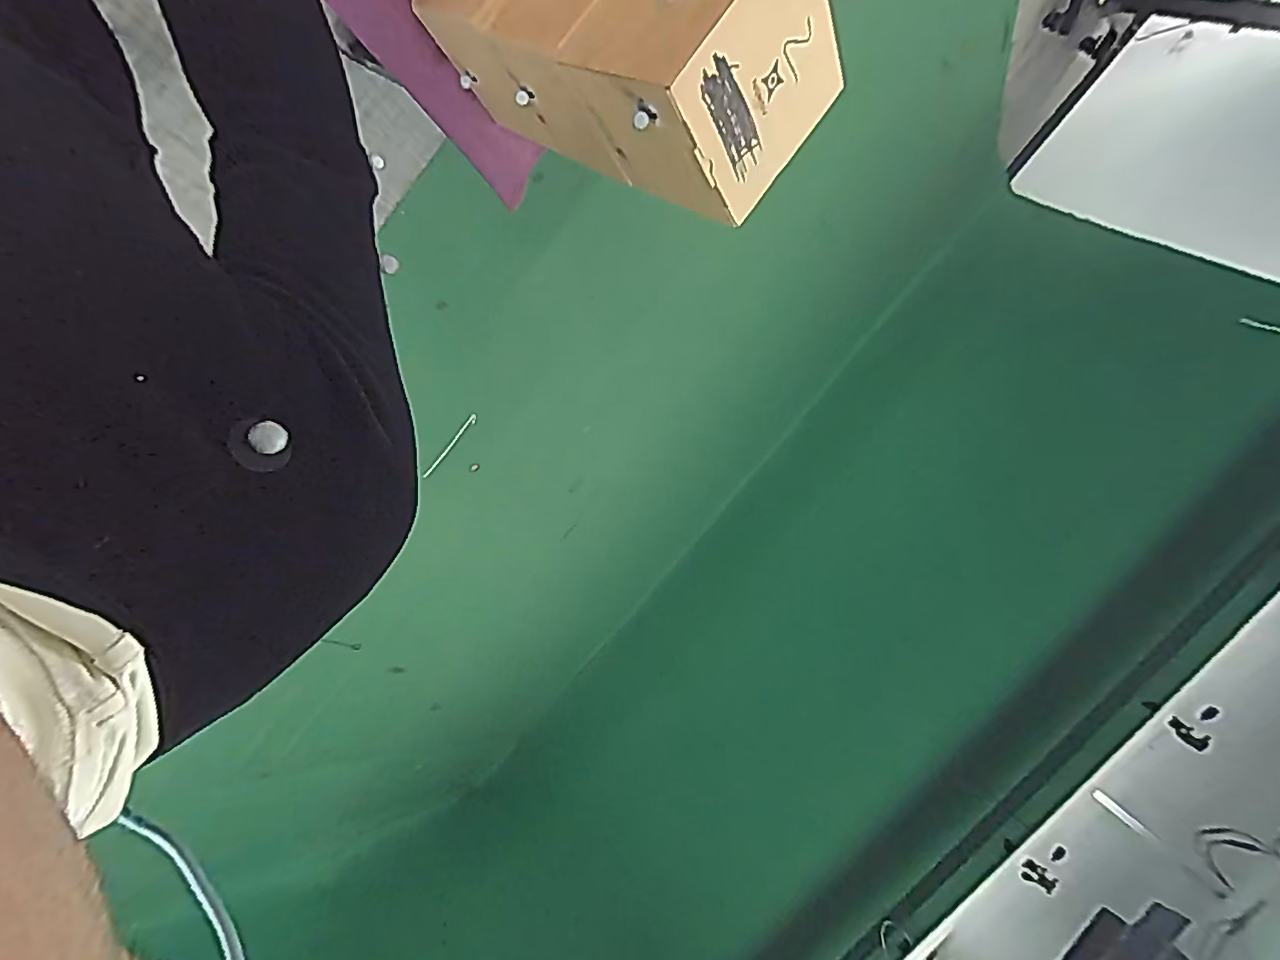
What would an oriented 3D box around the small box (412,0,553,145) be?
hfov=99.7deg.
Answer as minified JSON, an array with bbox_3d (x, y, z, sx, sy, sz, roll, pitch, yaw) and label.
[{"bbox_3d":[-0.151,-0.586,0.695,0.168,0.176,0.179,-49,149,3],"label":"small box"}]

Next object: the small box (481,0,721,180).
[{"bbox_3d":[-0.044,-0.492,0.614,0.179,0.176,0.168,-49,148,3],"label":"small box"}]
